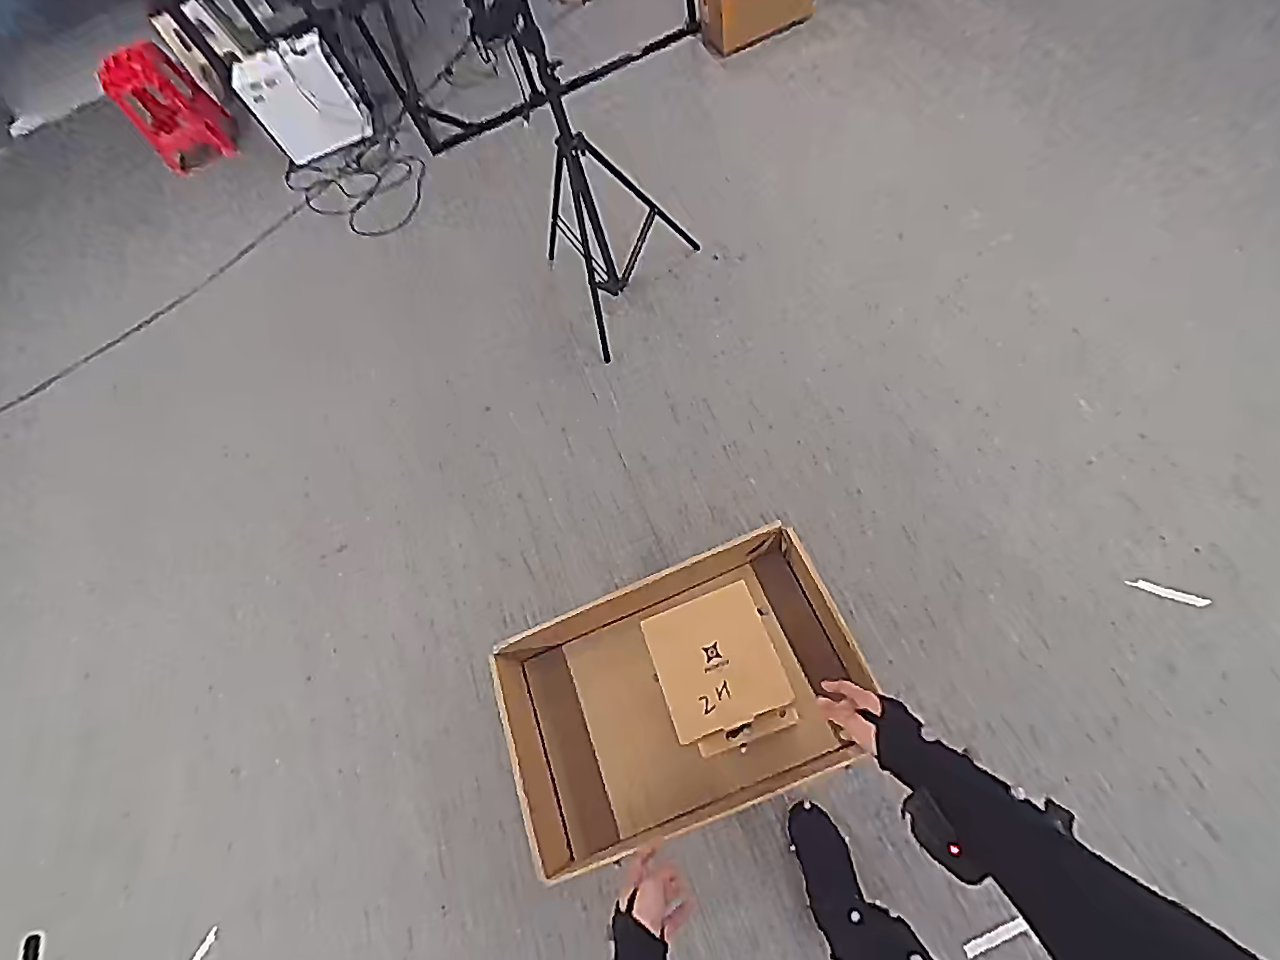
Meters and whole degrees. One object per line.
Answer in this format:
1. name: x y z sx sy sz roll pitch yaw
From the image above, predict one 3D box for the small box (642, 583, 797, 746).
1. small box: 0.120 0.279 0.809 0.168 0.176 0.179 -23 63 5
